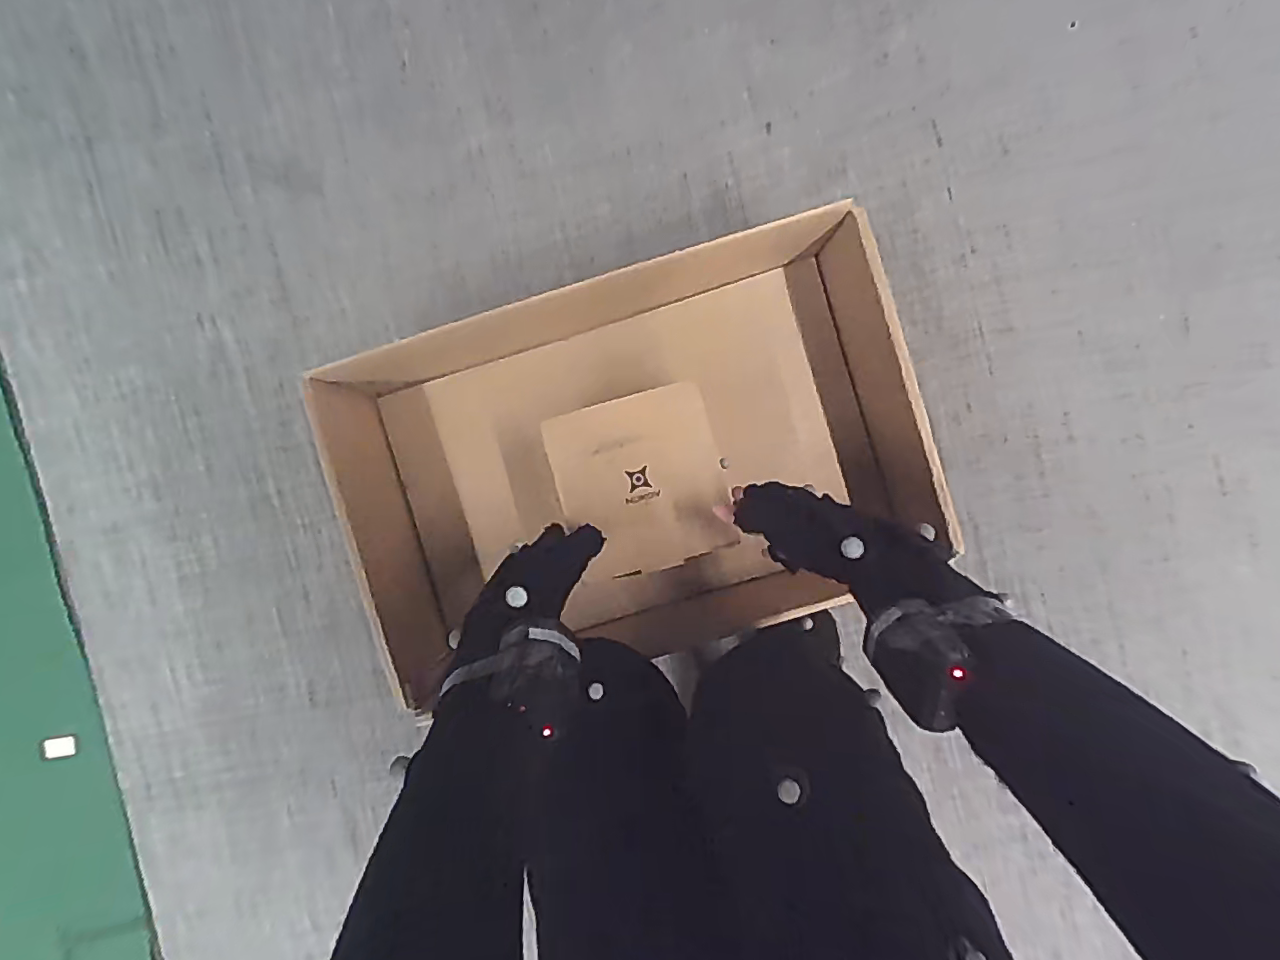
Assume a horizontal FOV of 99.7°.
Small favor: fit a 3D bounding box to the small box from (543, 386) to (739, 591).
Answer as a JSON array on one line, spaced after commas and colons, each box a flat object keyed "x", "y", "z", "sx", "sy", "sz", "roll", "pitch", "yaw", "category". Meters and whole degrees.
[{"x": 0.006, "y": 0.008, "z": 0.618, "sx": 0.168, "sy": 0.176, "sz": 0.179, "roll": -15, "pitch": 89, "yaw": 3, "category": "small box"}]
